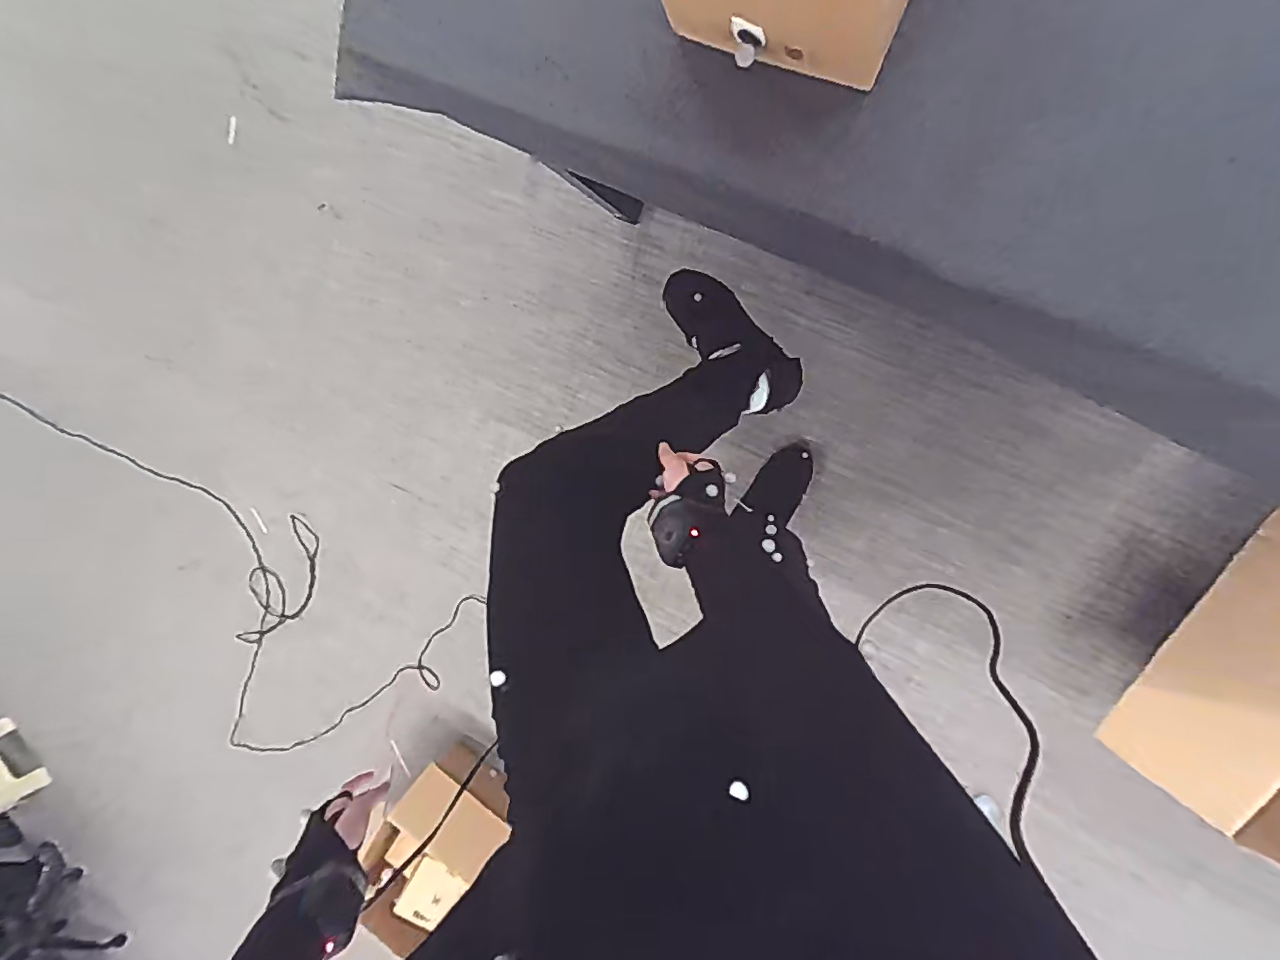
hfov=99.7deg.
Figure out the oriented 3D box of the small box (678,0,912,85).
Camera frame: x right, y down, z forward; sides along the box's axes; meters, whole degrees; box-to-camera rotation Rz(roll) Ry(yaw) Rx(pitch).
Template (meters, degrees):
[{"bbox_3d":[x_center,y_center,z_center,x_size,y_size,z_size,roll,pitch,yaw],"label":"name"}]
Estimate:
[{"bbox_3d":[0.110,-0.389,0.325,0.168,0.176,0.179,24,108,12],"label":"small box"}]
